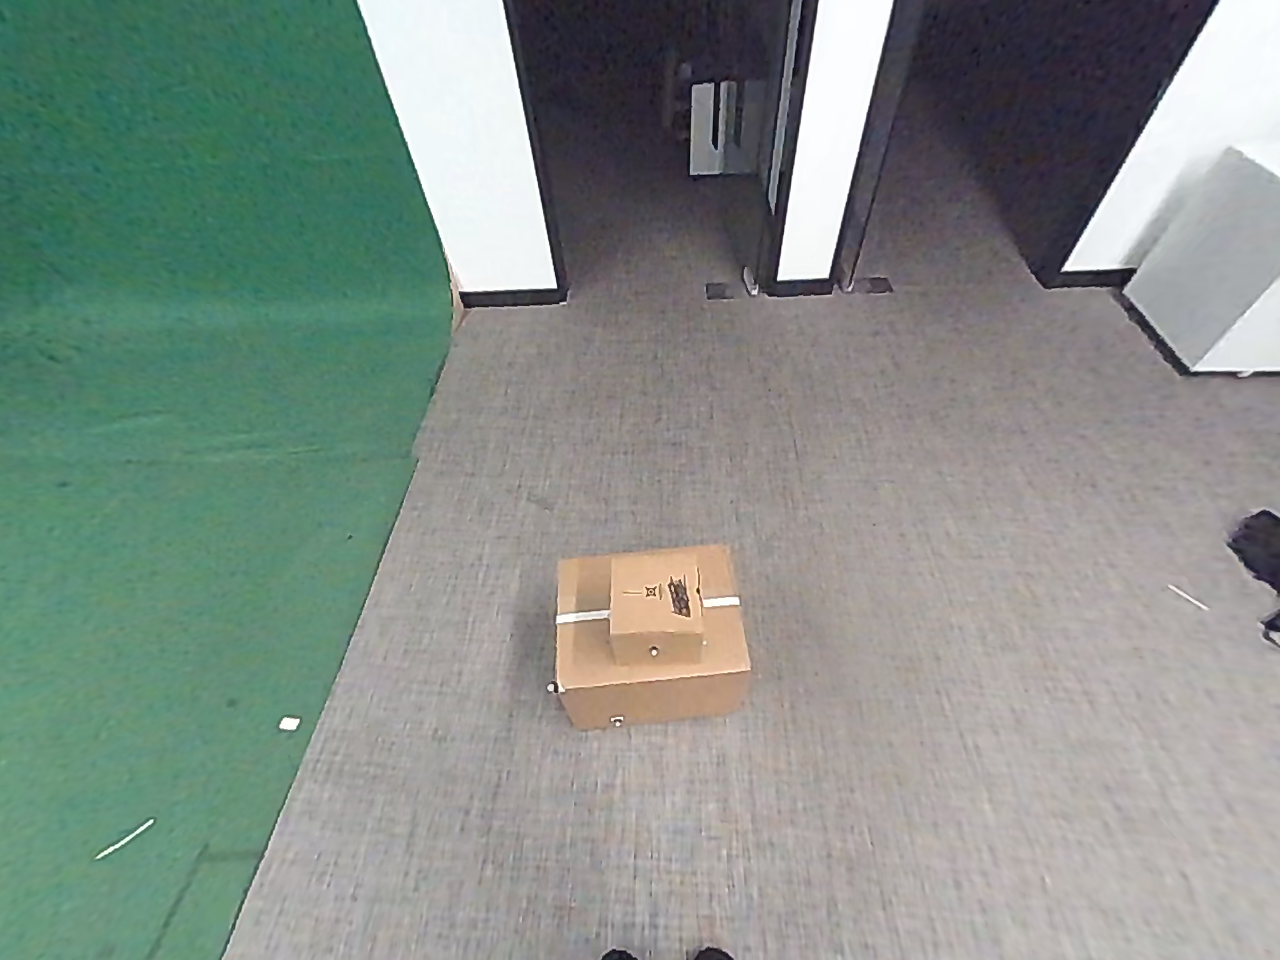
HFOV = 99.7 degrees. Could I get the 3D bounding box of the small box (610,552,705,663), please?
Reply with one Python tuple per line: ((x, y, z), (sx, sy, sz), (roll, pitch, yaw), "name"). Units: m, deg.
((0.031, 0.261, 1.099), (0.179, 0.176, 0.168), (-4, 53, -1), "small box")
